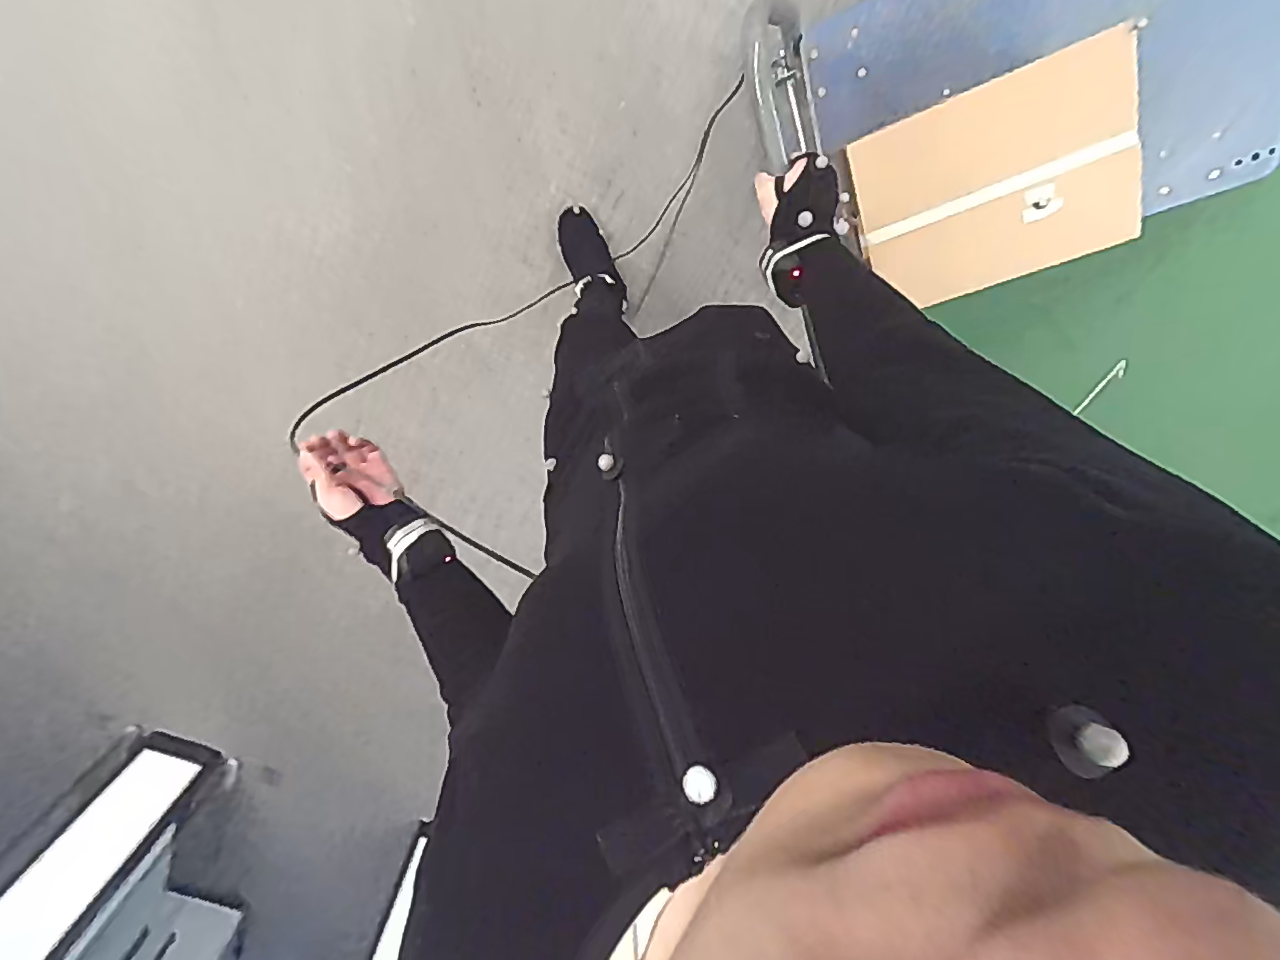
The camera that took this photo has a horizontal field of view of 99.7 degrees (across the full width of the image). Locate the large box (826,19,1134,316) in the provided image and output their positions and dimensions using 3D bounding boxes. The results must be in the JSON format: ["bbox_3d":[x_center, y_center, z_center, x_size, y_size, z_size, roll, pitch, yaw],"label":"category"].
[{"bbox_3d":[0.608,-0.556,1.032,0.408,0.320,0.320,-15,115,20],"label":"large box"}]
